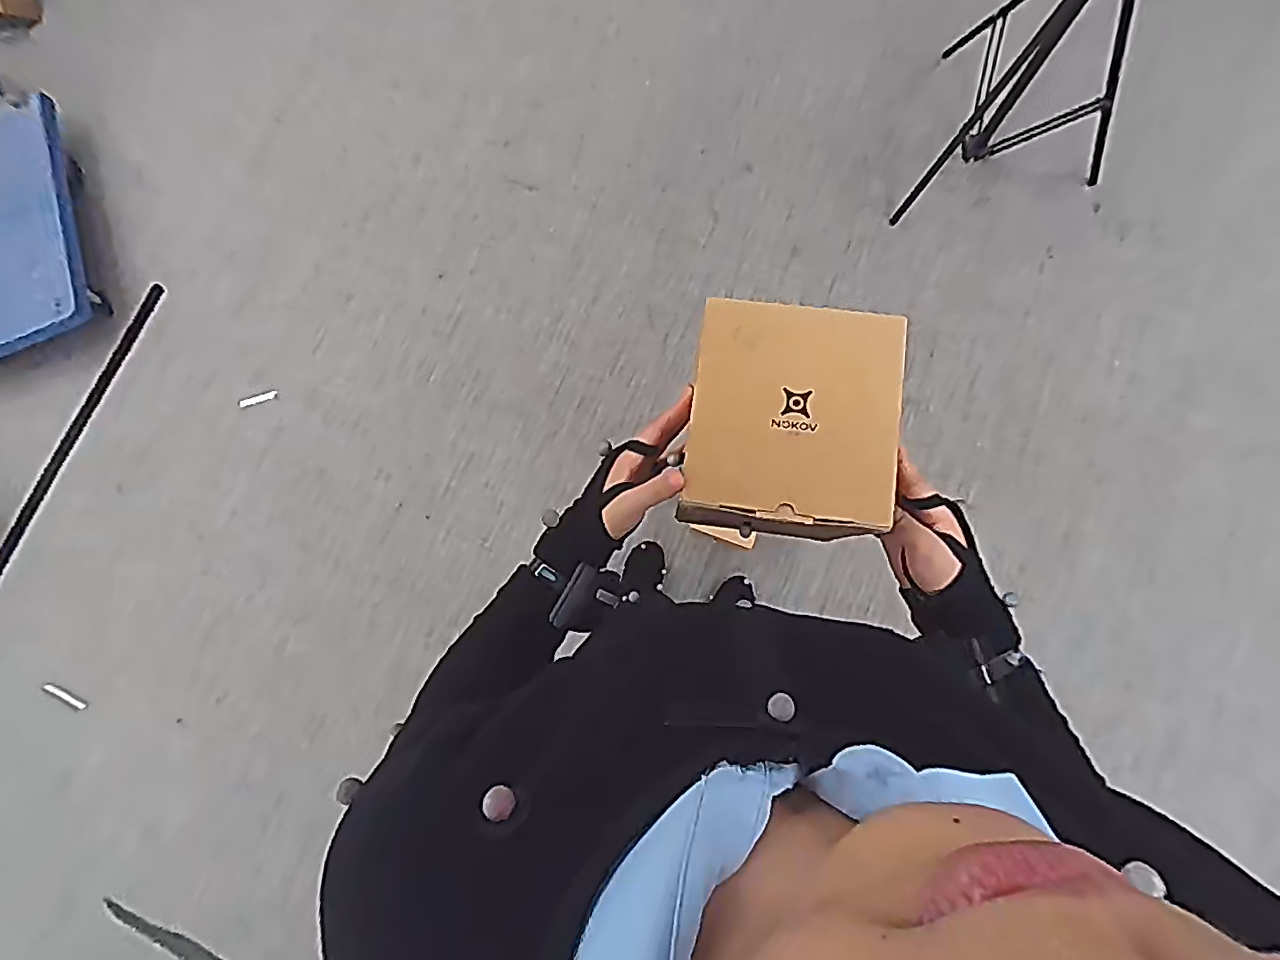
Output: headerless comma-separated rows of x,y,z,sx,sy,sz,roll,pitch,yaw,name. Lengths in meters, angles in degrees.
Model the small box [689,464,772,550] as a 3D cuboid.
0.236,0.078,1.435,0.168,0.176,0.179,20,82,7,small box
